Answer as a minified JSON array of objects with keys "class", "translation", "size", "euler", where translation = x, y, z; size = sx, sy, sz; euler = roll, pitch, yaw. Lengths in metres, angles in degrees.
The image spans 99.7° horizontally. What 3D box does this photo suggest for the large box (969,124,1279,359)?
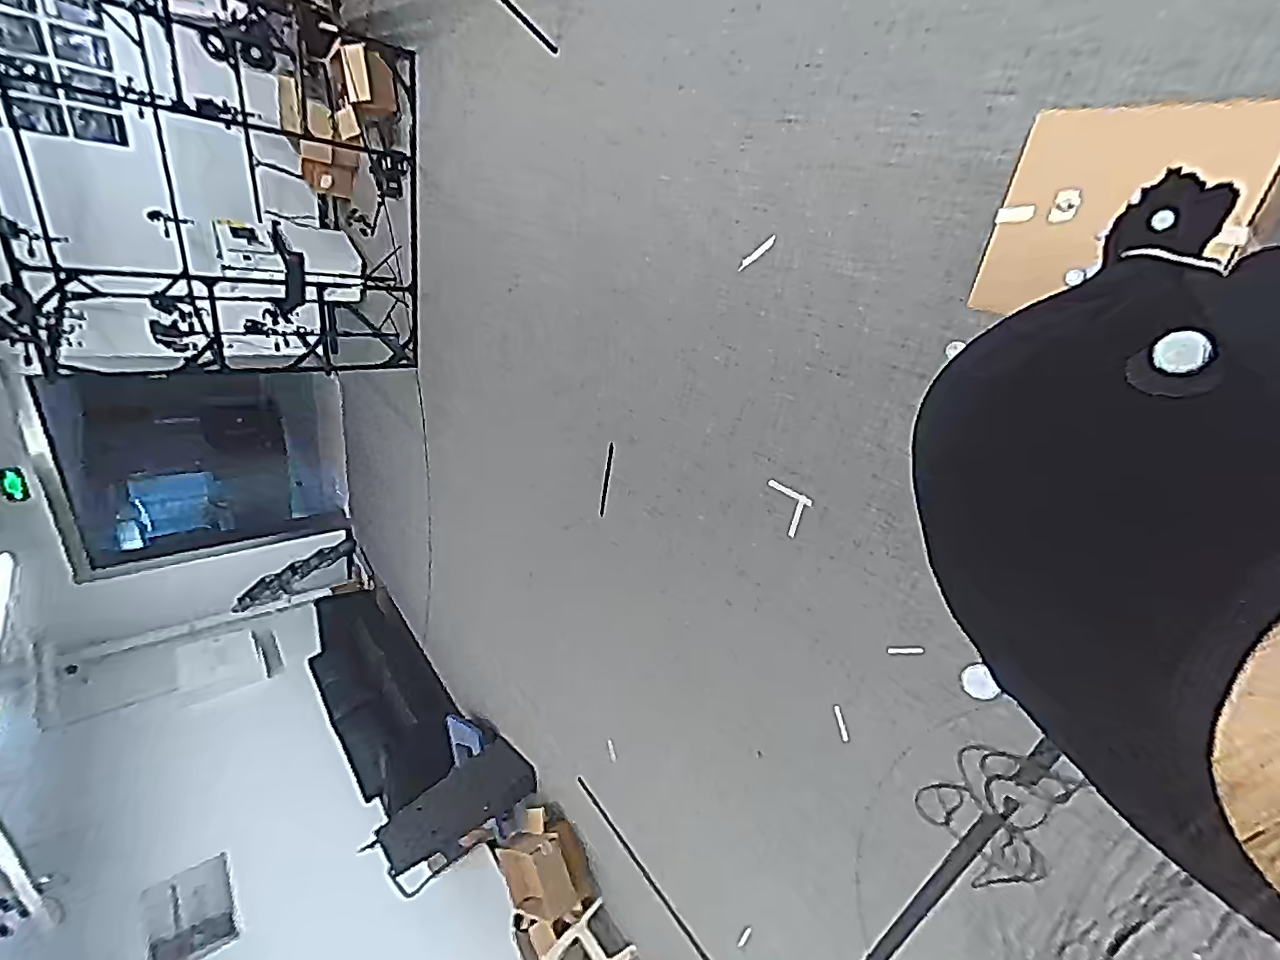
[{"class":"large box","translation":[0.867,-0.418,0.971],"size":[0.320,0.408,0.320],"euler":[32,124,40]}]
